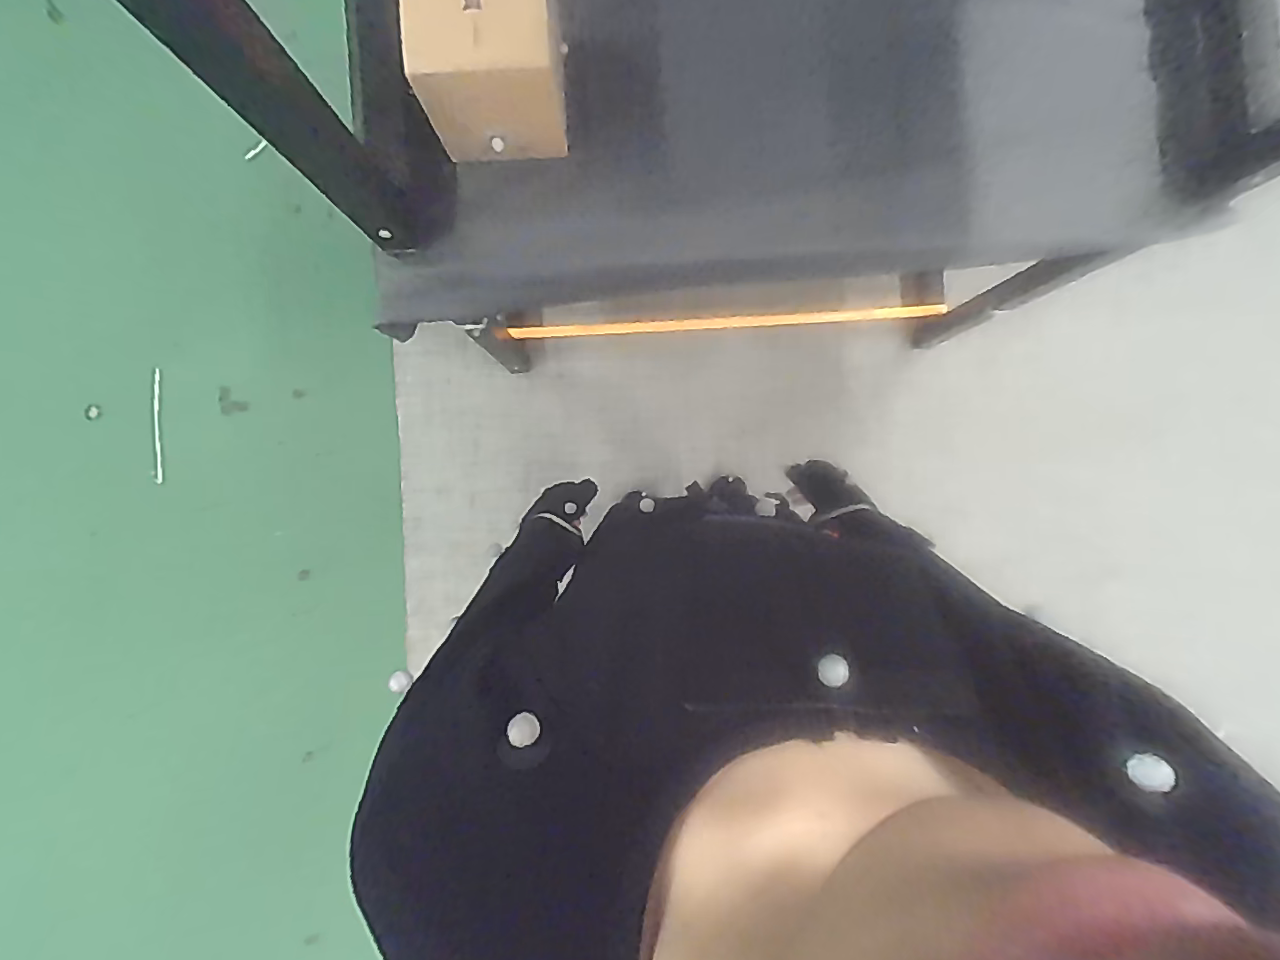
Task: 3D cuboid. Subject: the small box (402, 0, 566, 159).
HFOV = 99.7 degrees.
[{"bbox_3d":[-0.188,-0.545,0.687,0.168,0.176,0.179,-4,89,-1],"label":"small box"}]
